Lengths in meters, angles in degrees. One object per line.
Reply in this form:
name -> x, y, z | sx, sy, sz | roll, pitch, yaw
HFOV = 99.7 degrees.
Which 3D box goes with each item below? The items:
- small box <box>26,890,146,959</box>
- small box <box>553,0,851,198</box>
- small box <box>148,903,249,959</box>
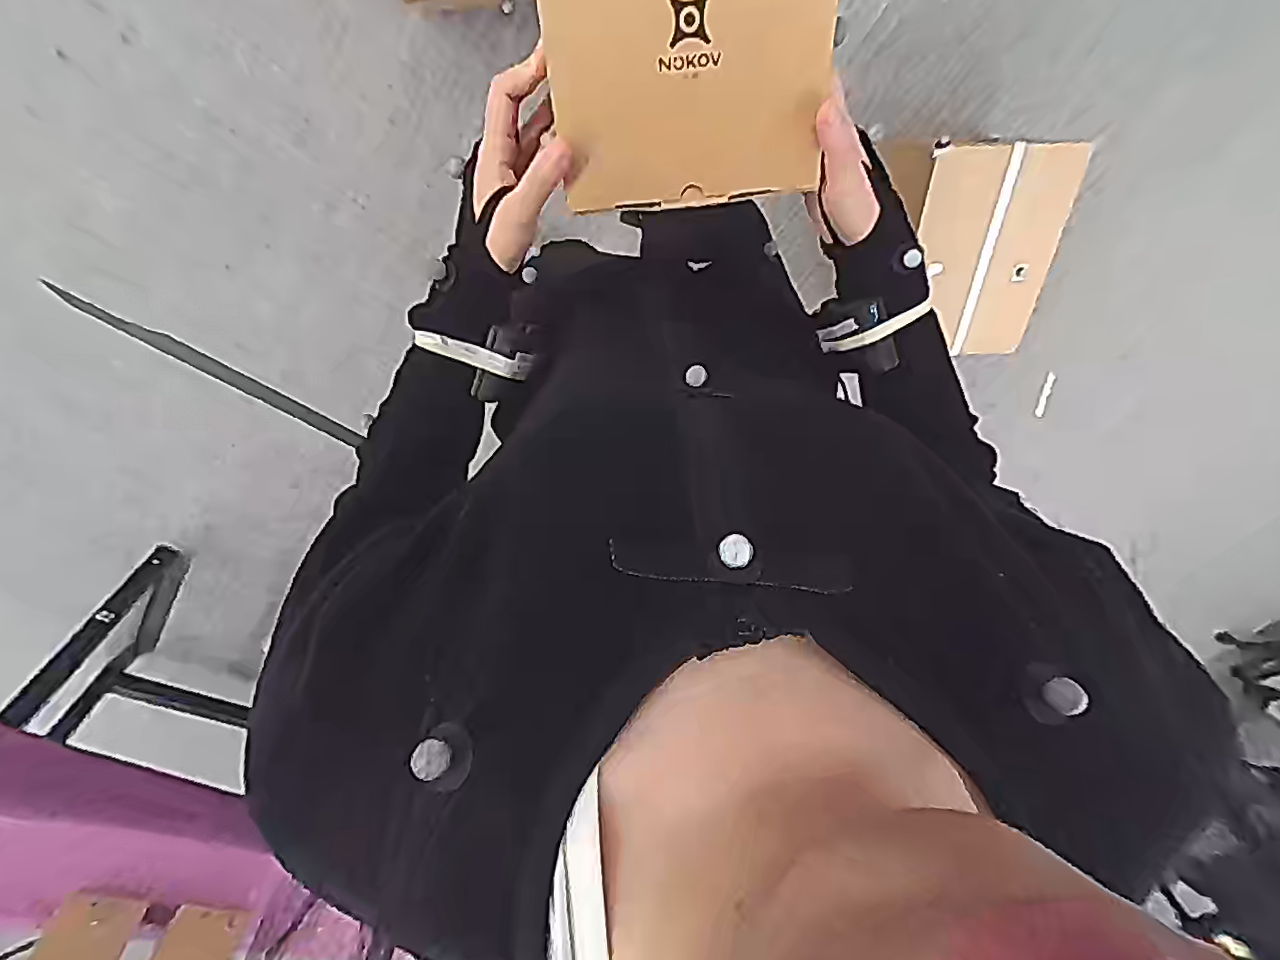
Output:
small box -> -1.321, 1.107, 1.271 | 0.168, 0.176, 0.179 | 31, 114, -25
small box -> 0.030, -0.306, 0.359 | 0.168, 0.176, 0.179 | -6, 128, 2
small box -> -1.128, 1.201, 1.359 | 0.168, 0.176, 0.179 | 31, 115, -24
